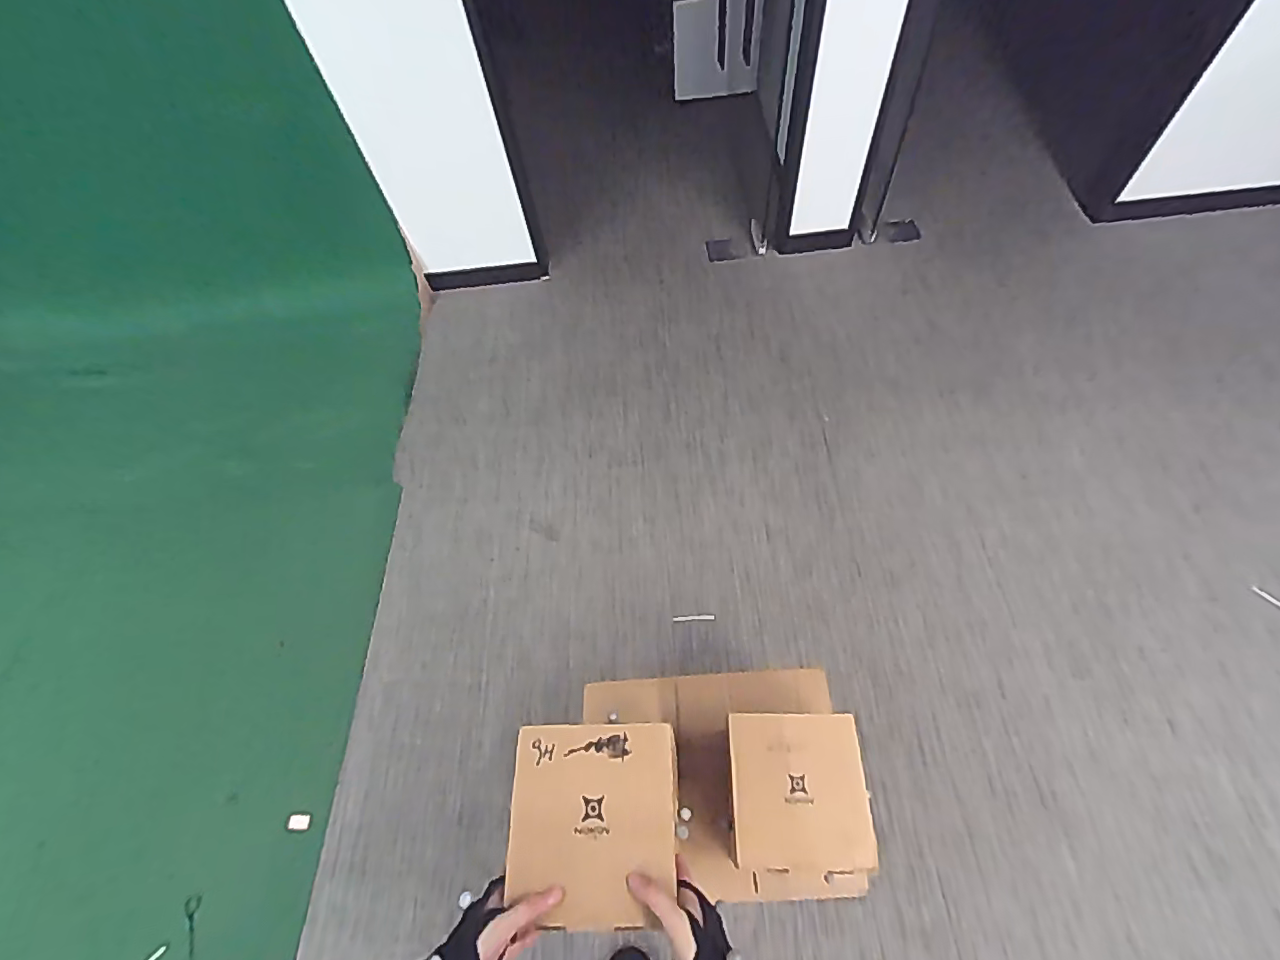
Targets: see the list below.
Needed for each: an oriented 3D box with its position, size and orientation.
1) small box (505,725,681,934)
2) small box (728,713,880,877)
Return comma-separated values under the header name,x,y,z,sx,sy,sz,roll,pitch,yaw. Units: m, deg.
name,x,y,z,sx,sy,sz,roll,pitch,yaw
small box,-0.040,0.376,0.604,0.168,0.176,0.179,-3,60,3
small box,0.208,0.425,0.738,0.168,0.176,0.179,-2,57,6
